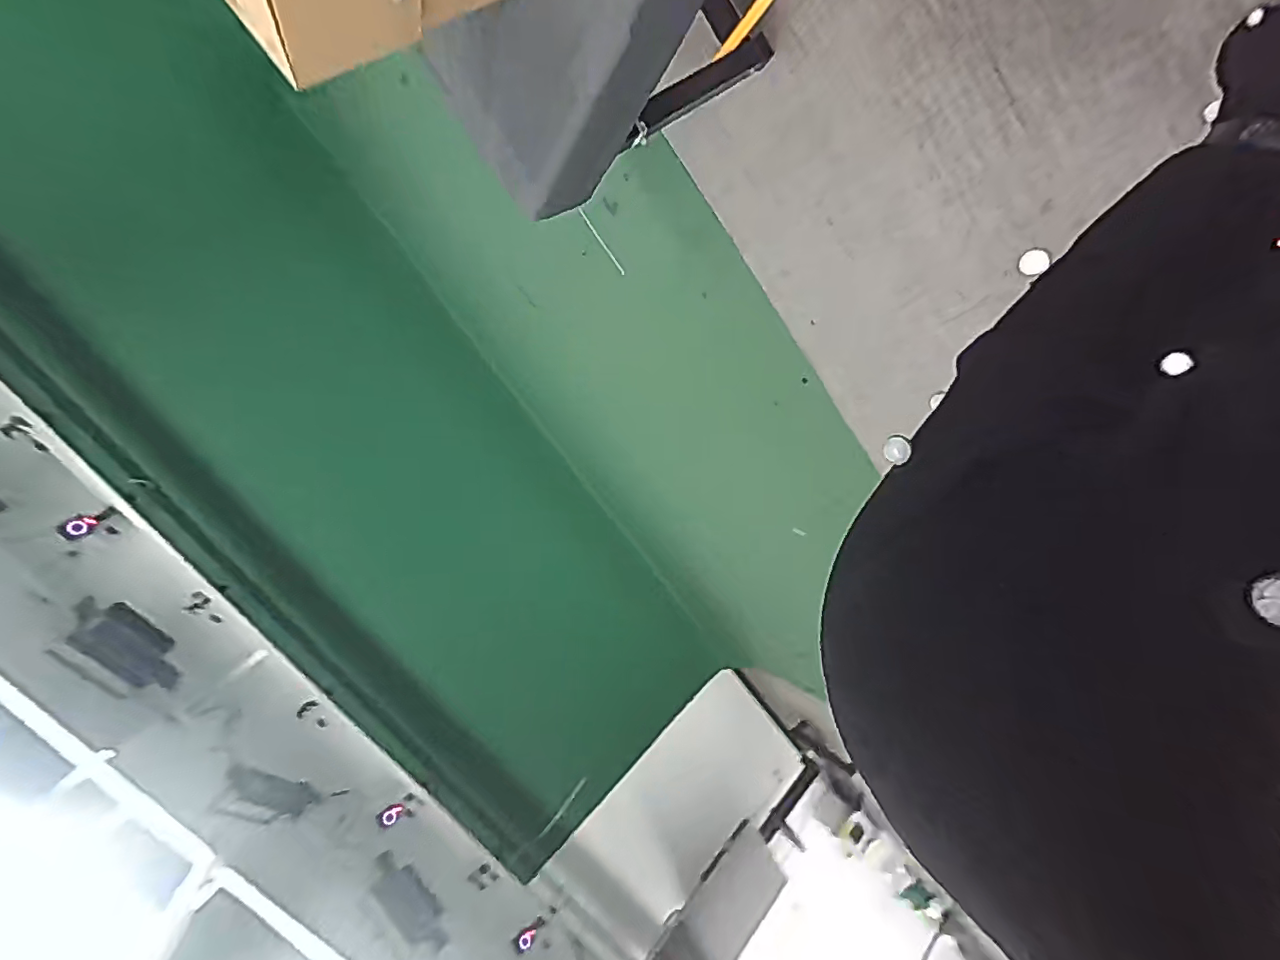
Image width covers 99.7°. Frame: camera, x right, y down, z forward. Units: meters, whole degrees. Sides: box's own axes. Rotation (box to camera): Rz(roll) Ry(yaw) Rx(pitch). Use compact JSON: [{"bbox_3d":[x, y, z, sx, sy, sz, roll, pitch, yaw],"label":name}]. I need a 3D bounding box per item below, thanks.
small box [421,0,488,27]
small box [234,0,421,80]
[{"bbox_3d":[-0.222,-0.666,0.589,0.168,0.176,0.179,54,160,-12],"label":"small box"},{"bbox_3d":[-0.336,-0.560,0.534,0.168,0.176,0.179,54,159,-9],"label":"small box"}]
